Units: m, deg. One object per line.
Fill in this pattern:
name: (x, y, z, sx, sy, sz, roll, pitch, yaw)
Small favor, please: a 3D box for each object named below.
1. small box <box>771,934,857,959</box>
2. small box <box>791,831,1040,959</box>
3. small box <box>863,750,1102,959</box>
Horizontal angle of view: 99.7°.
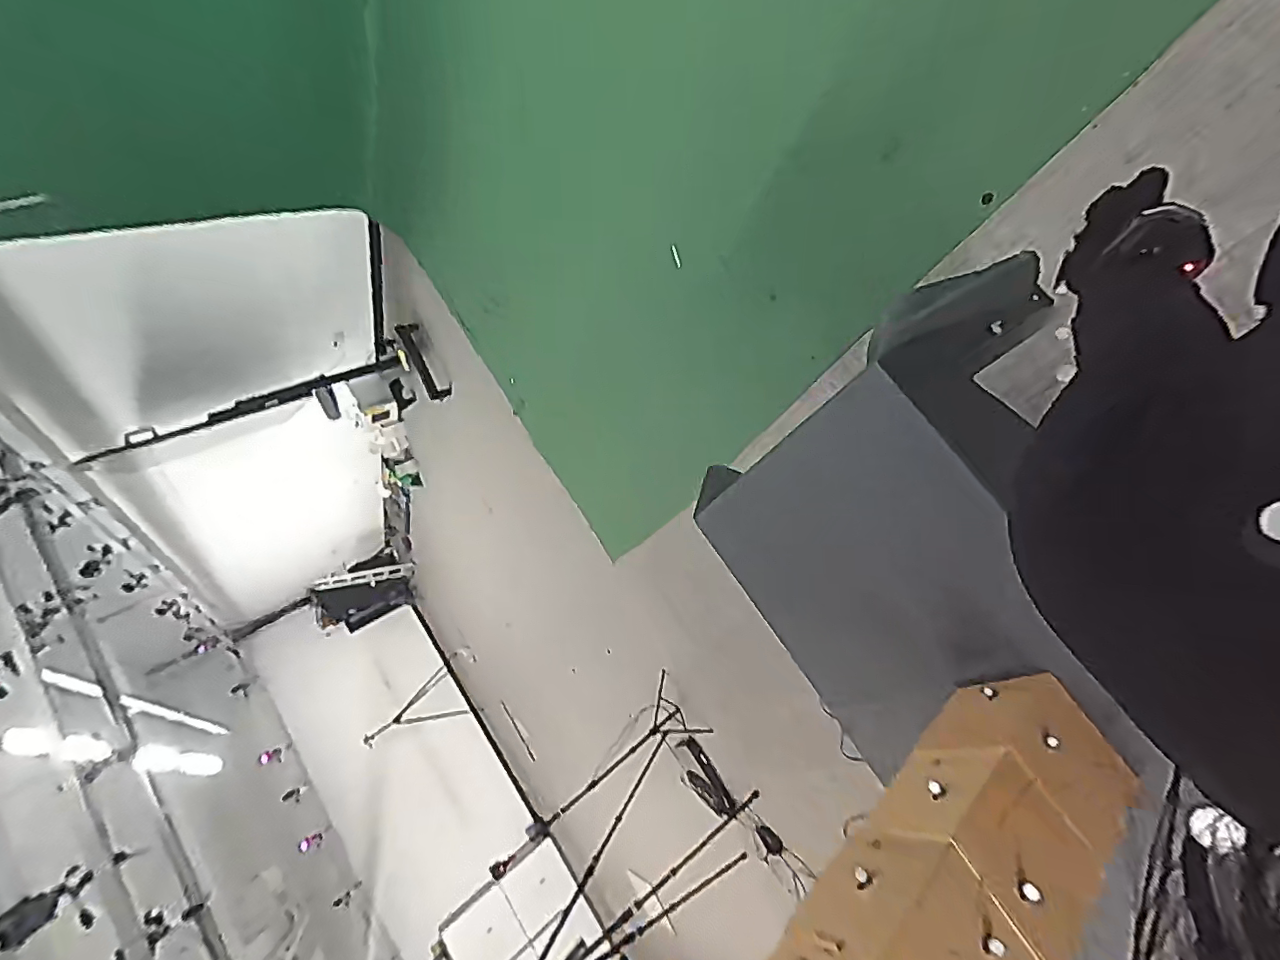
small box: (0.198, 0.612, 0.530, 0.179, 0.176, 0.168, 55, 145, 12)
small box: (0.319, 0.543, 0.619, 0.179, 0.176, 0.168, 56, 146, 11)
small box: (0.441, 0.476, 0.705, 0.179, 0.176, 0.168, 54, 146, 12)
